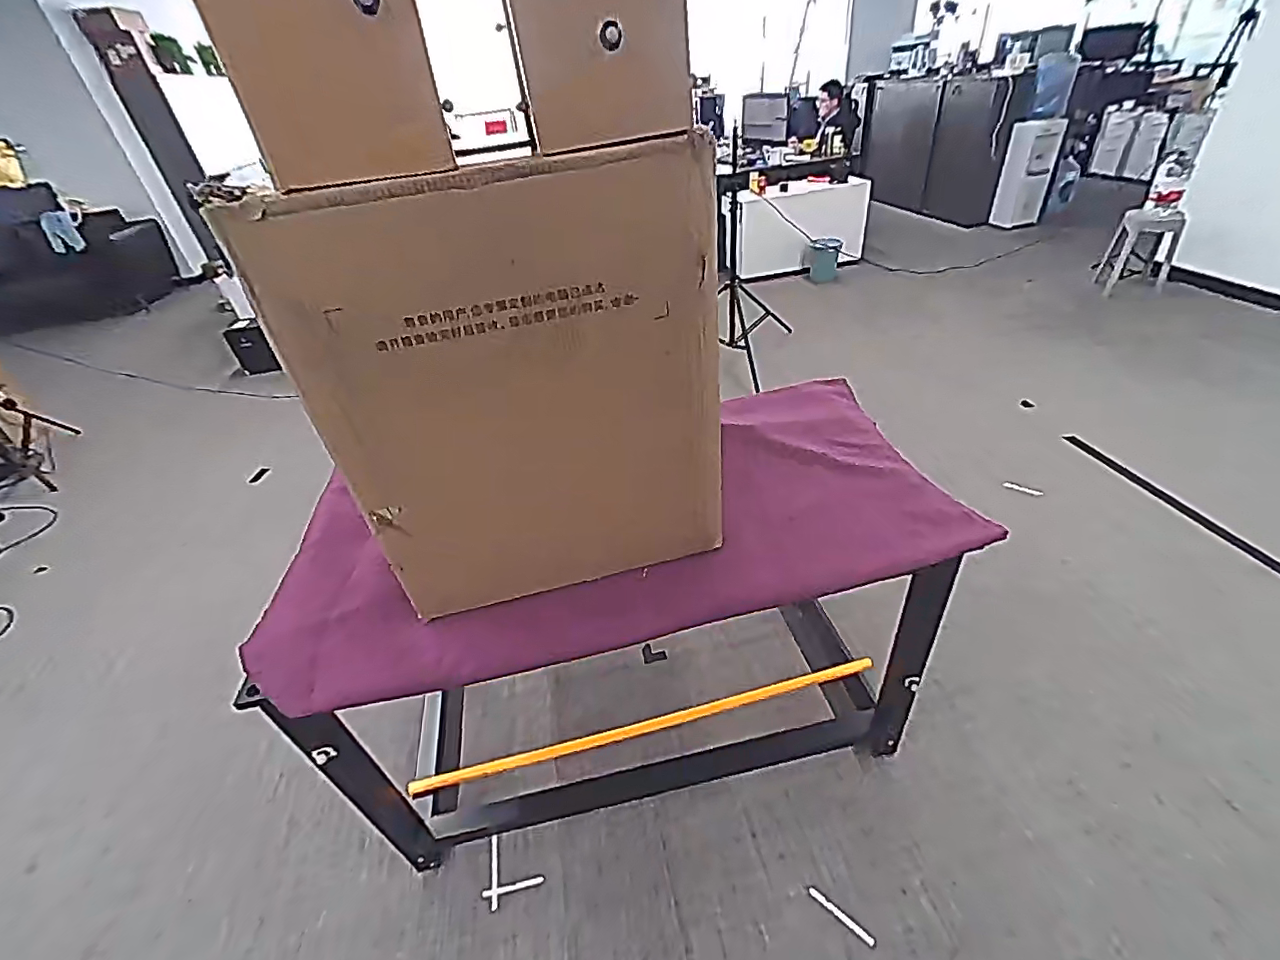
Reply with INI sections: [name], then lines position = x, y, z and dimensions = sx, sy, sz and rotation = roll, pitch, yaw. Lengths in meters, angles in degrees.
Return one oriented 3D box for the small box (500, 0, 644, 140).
[small box]
position = -0.096, -0.584, 0.753
dimensions = 0.168, 0.176, 0.179
rotation = -12, 37, -5
